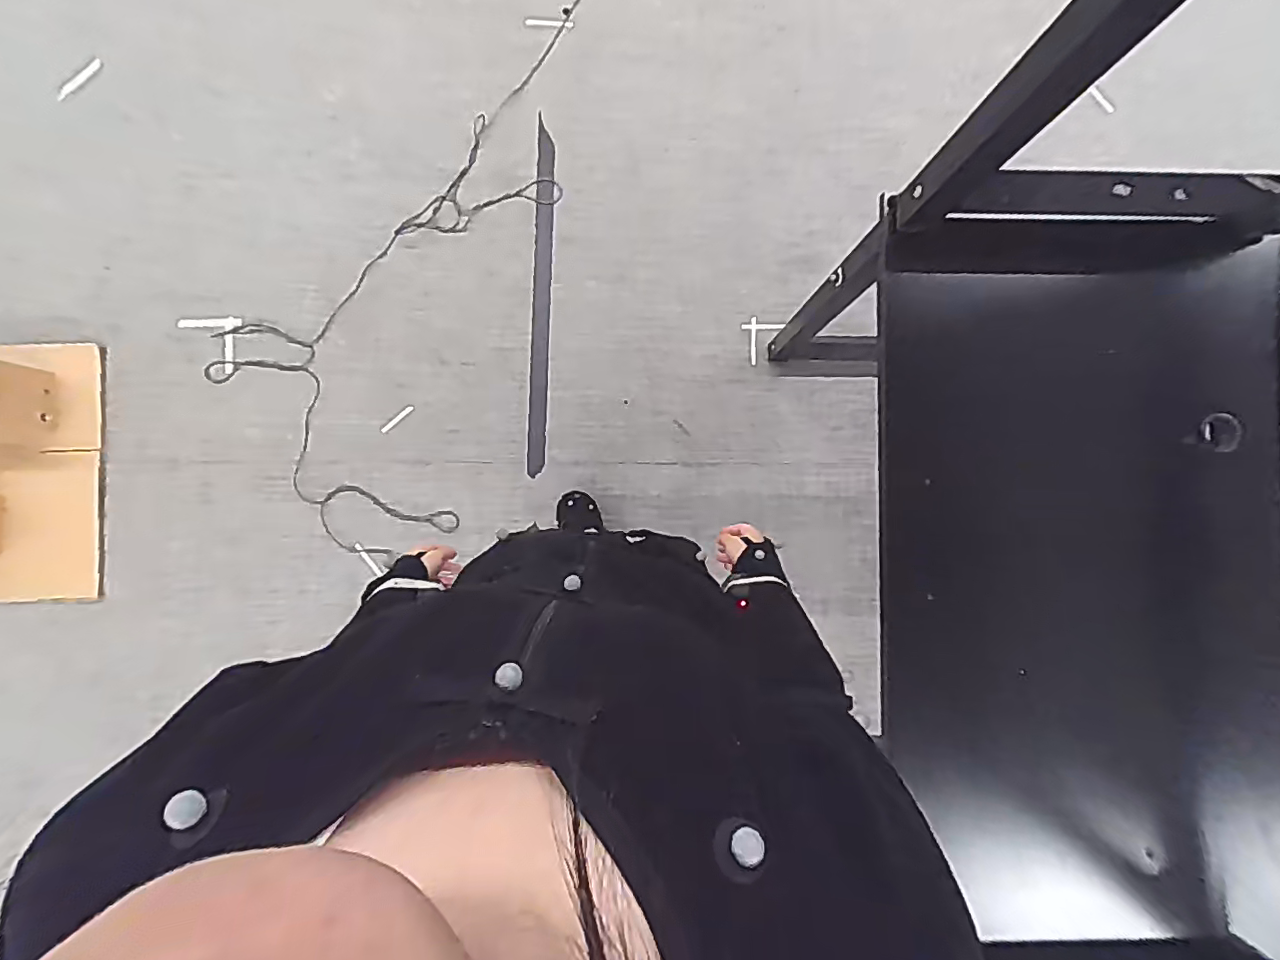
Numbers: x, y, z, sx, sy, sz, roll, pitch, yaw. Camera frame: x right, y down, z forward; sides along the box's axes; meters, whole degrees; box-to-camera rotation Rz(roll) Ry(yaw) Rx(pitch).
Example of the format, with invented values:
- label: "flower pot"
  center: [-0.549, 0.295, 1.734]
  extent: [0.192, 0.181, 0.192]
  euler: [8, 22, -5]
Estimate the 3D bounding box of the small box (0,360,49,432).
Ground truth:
- label: "small box"
  center: [-1.668, -0.214, 1.373]
  extent: [0.179, 0.176, 0.168]
  euler: [-5, 88, -2]
